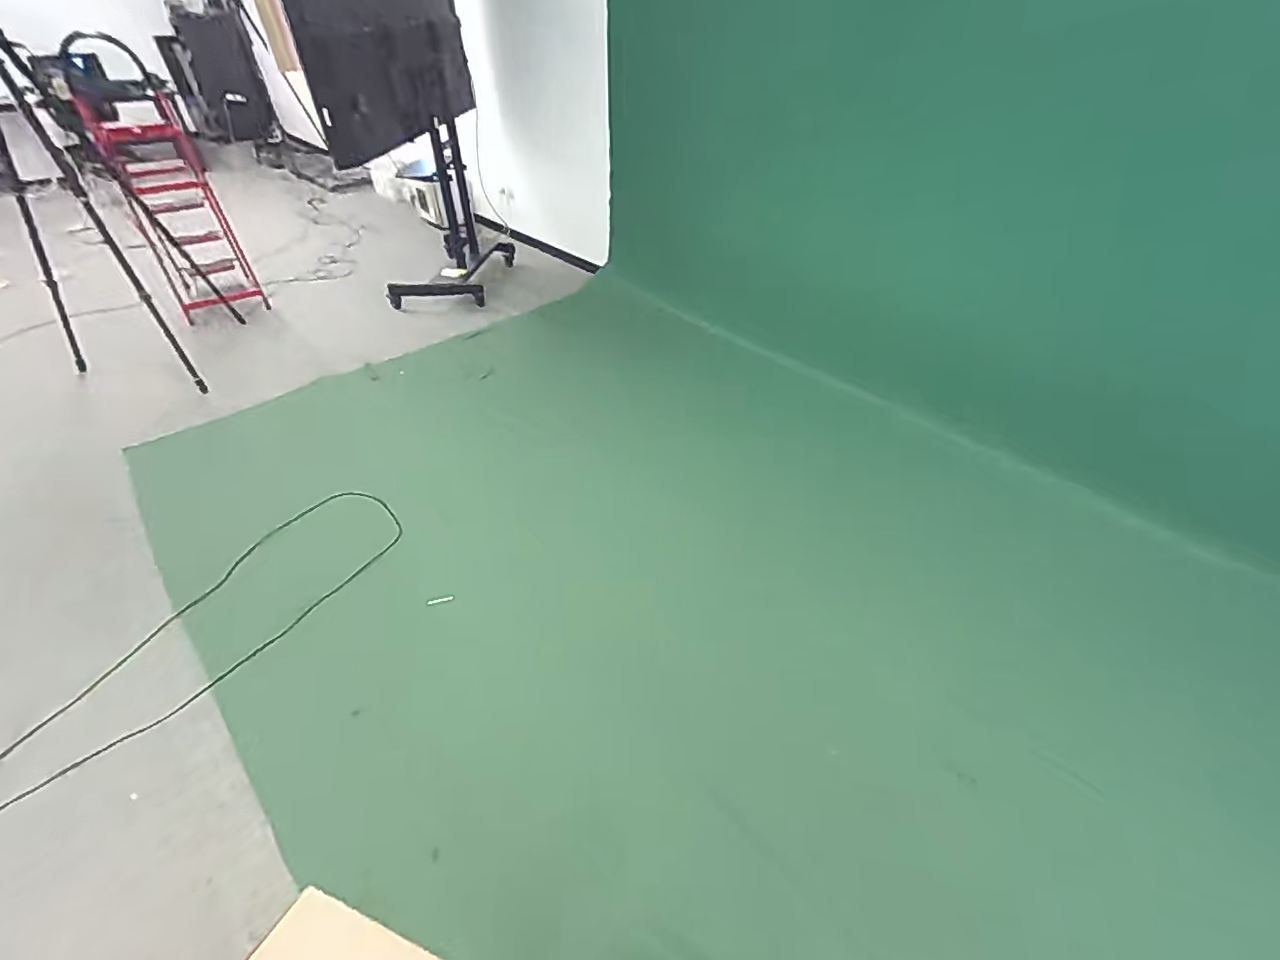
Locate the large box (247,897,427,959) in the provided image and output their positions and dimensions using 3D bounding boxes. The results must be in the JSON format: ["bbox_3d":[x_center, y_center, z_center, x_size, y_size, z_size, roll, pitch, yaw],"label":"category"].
[{"bbox_3d":[-0.381,0.815,0.645,0.320,0.408,0.320,16,27,13],"label":"large box"}]
